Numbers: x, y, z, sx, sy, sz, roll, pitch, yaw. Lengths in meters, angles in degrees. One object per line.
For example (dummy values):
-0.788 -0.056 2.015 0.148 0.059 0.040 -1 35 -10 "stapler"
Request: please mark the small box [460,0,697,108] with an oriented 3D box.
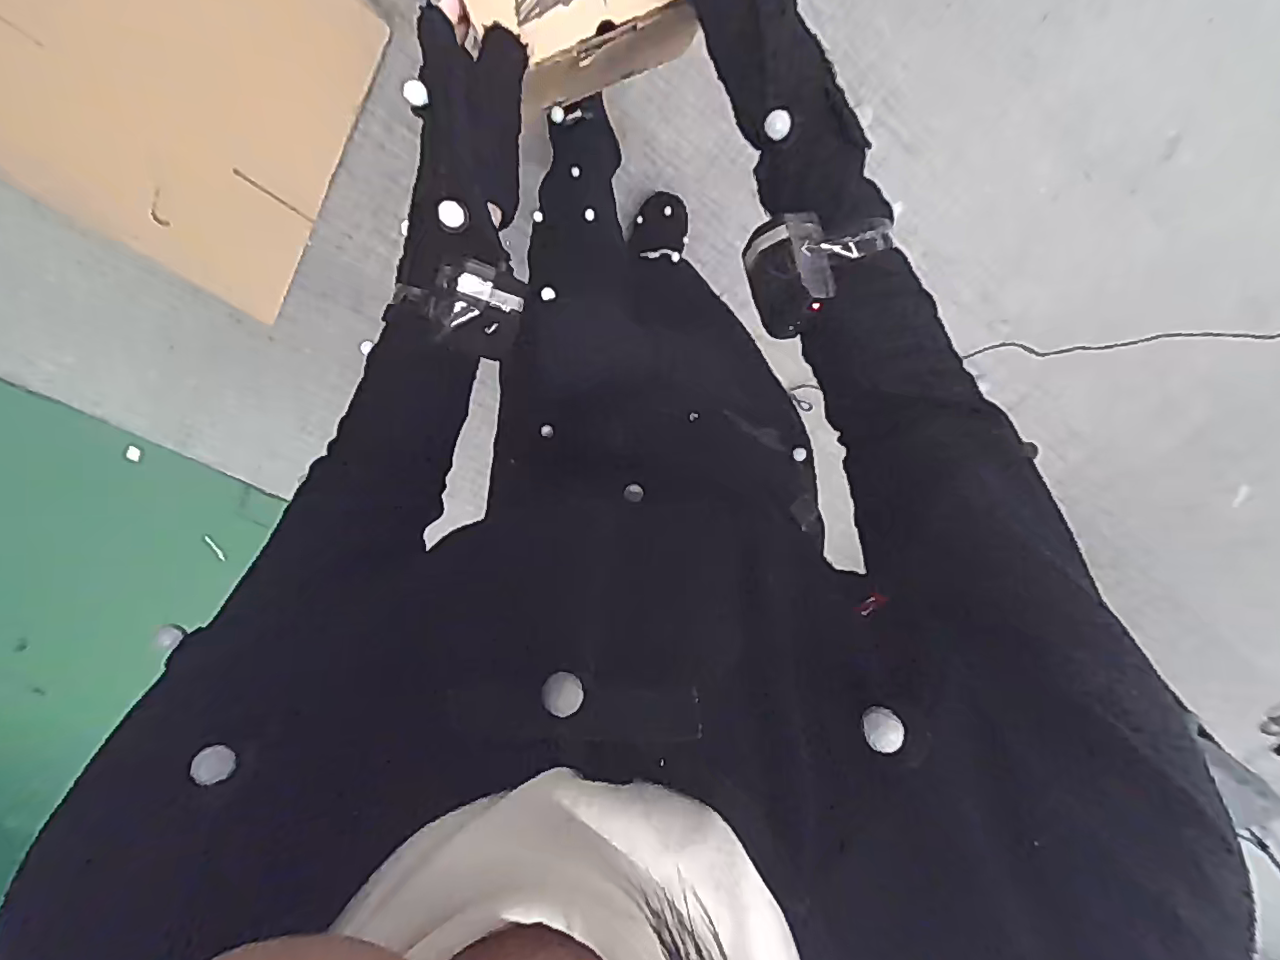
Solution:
-0.058 -0.410 0.406 0.168 0.176 0.179 -19 114 6 "small box"
